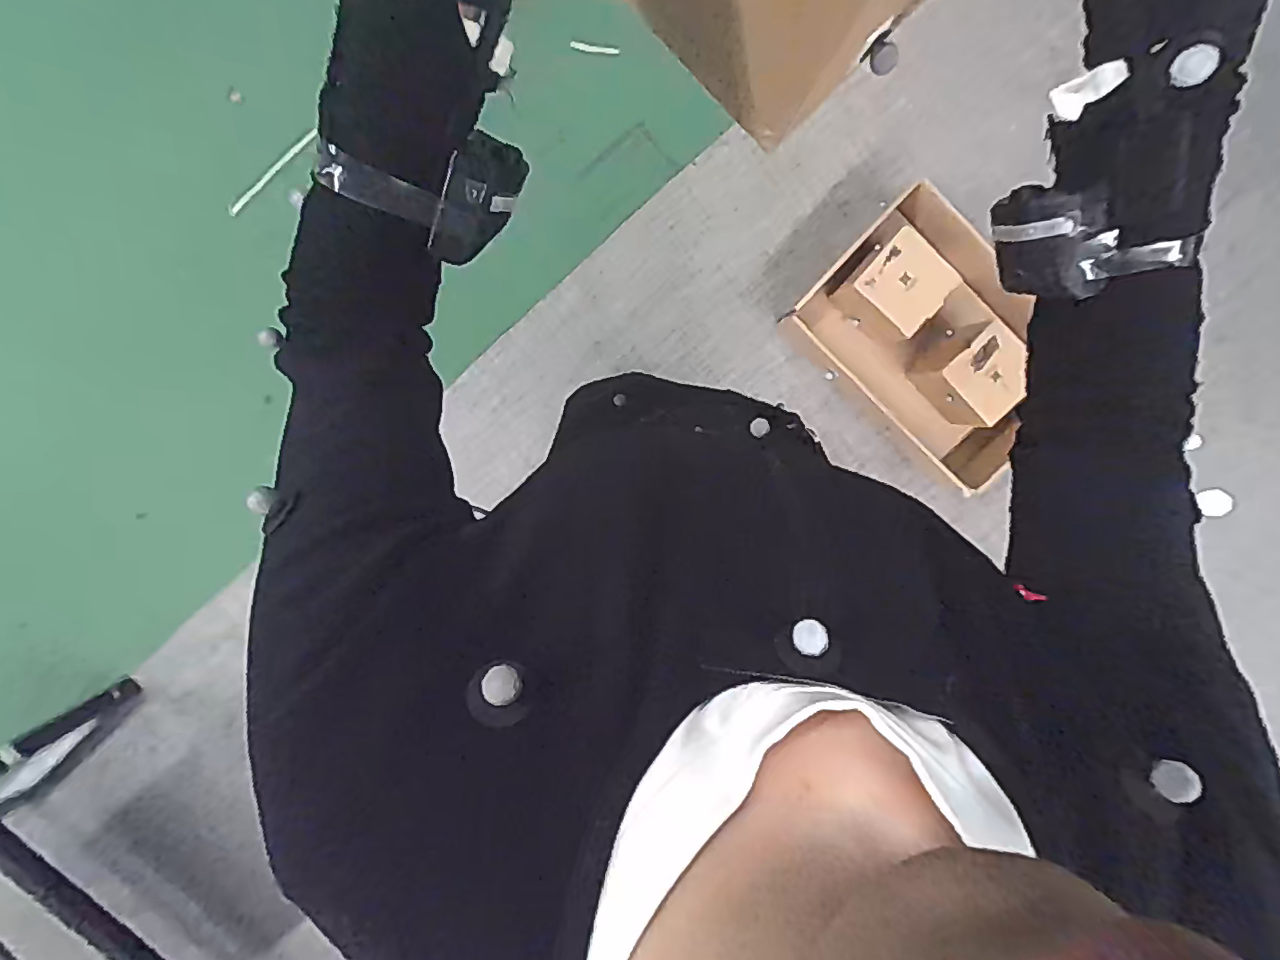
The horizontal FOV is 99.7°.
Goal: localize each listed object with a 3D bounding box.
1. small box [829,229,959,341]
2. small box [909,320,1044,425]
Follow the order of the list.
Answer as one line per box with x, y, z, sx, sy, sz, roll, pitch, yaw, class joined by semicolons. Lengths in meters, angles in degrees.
0.575;-0.437;1.247;0.179;0.176;0.168;40;97;-7;small box
0.779;-0.247;1.277;0.168;0.176;0.179;-44;96;7;small box
